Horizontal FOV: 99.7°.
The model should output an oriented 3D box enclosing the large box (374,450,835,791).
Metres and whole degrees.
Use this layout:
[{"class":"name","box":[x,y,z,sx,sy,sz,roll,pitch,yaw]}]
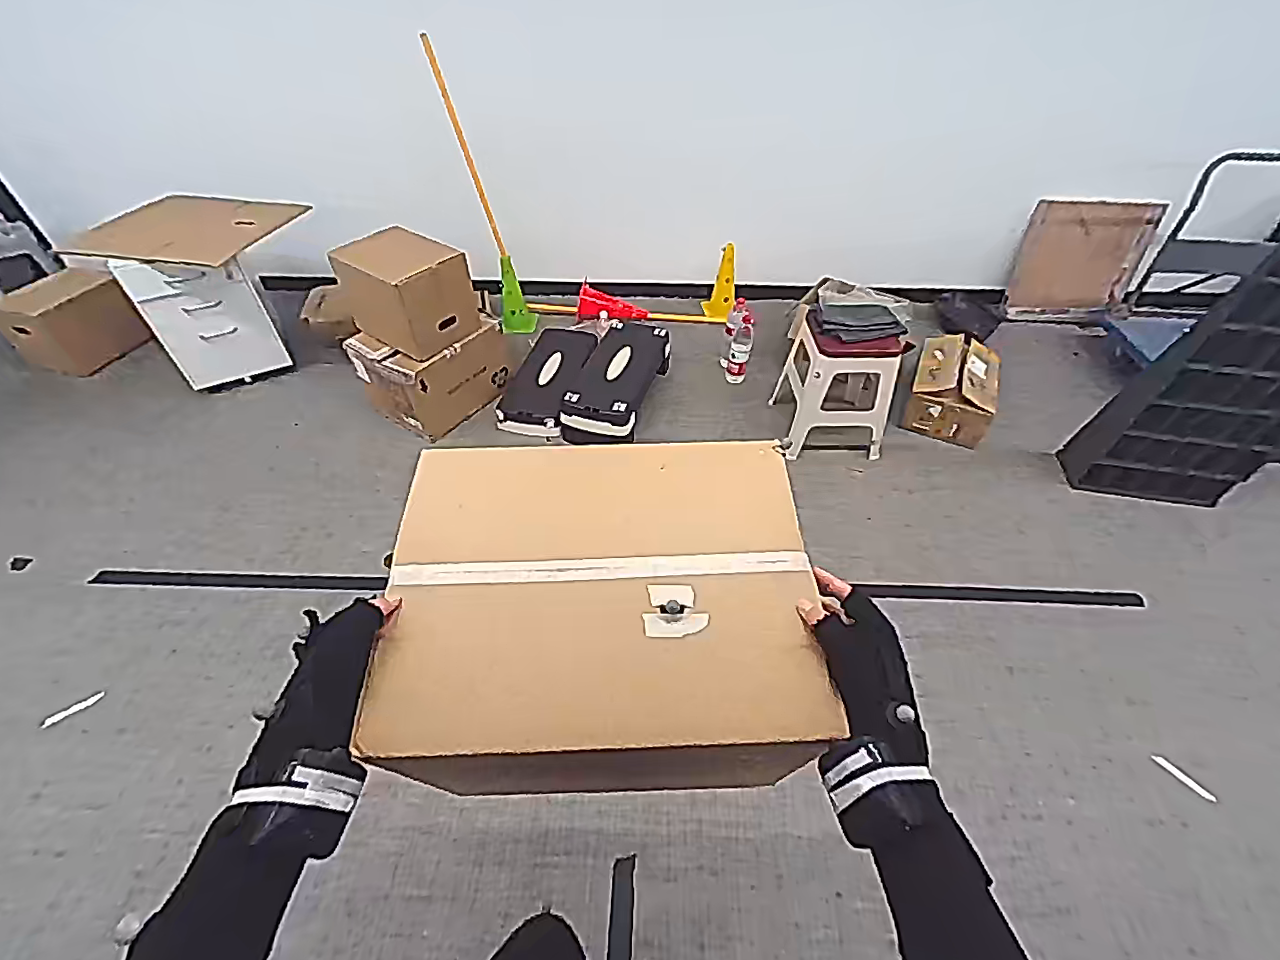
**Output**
[{"class":"large box","box":[-0.037,0.181,0.664,0.408,0.320,0.320,-1,55,-2]}]
